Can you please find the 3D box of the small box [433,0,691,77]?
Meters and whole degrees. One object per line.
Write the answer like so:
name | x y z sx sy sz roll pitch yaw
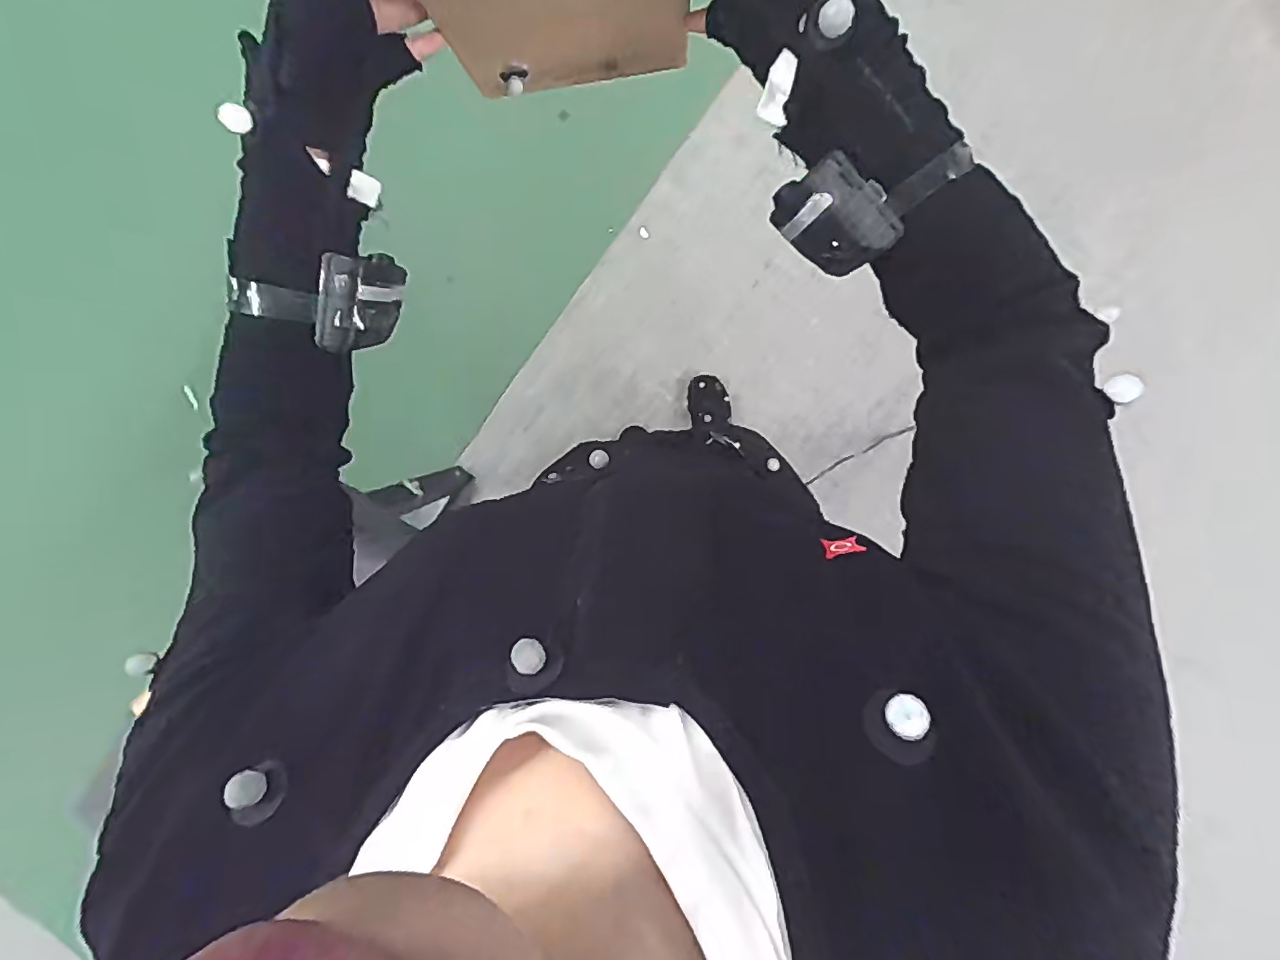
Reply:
small box | -0.055 -0.386 0.333 0.168 0.176 0.179 -5 99 5
